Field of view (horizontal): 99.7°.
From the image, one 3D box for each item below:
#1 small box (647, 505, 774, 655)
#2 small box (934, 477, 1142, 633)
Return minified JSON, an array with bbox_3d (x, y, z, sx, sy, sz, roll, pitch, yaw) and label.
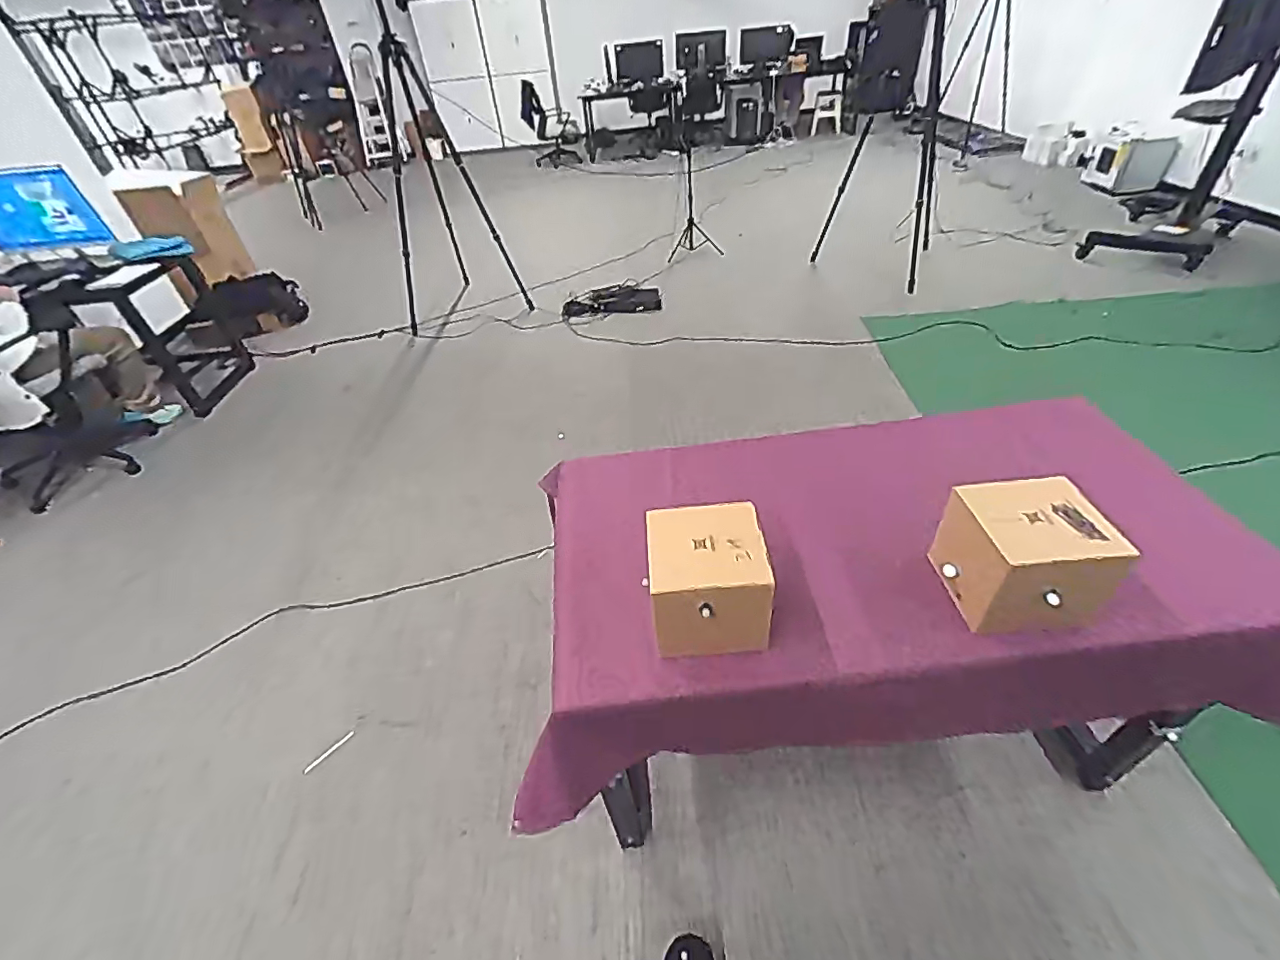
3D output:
[{"bbox_3d":[0.107,0.160,0.853,0.179,0.176,0.168,-5,41,3],"label":"small box"},{"bbox_3d":[0.591,0.117,0.834,0.179,0.176,0.168,-6,40,3],"label":"small box"}]
